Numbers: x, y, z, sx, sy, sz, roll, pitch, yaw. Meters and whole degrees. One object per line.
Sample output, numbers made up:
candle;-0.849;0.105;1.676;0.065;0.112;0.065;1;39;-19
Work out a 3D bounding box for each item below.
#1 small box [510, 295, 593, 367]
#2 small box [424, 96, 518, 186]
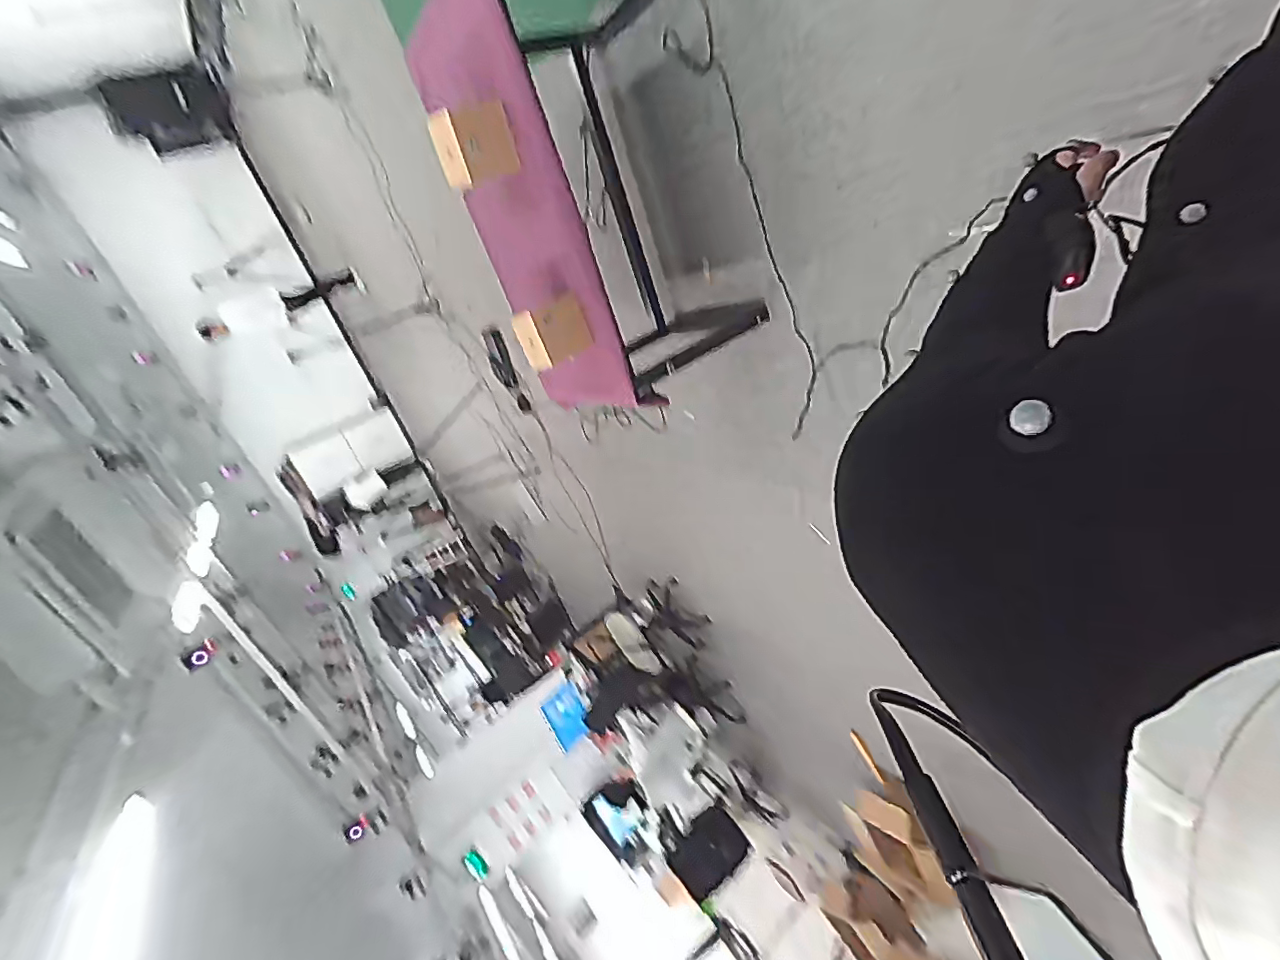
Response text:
small box;-0.281;-0.478;1.725;0.168;0.176;0.179;10;129;56
small box;-0.465;-0.946;1.512;0.168;0.176;0.179;27;141;45
